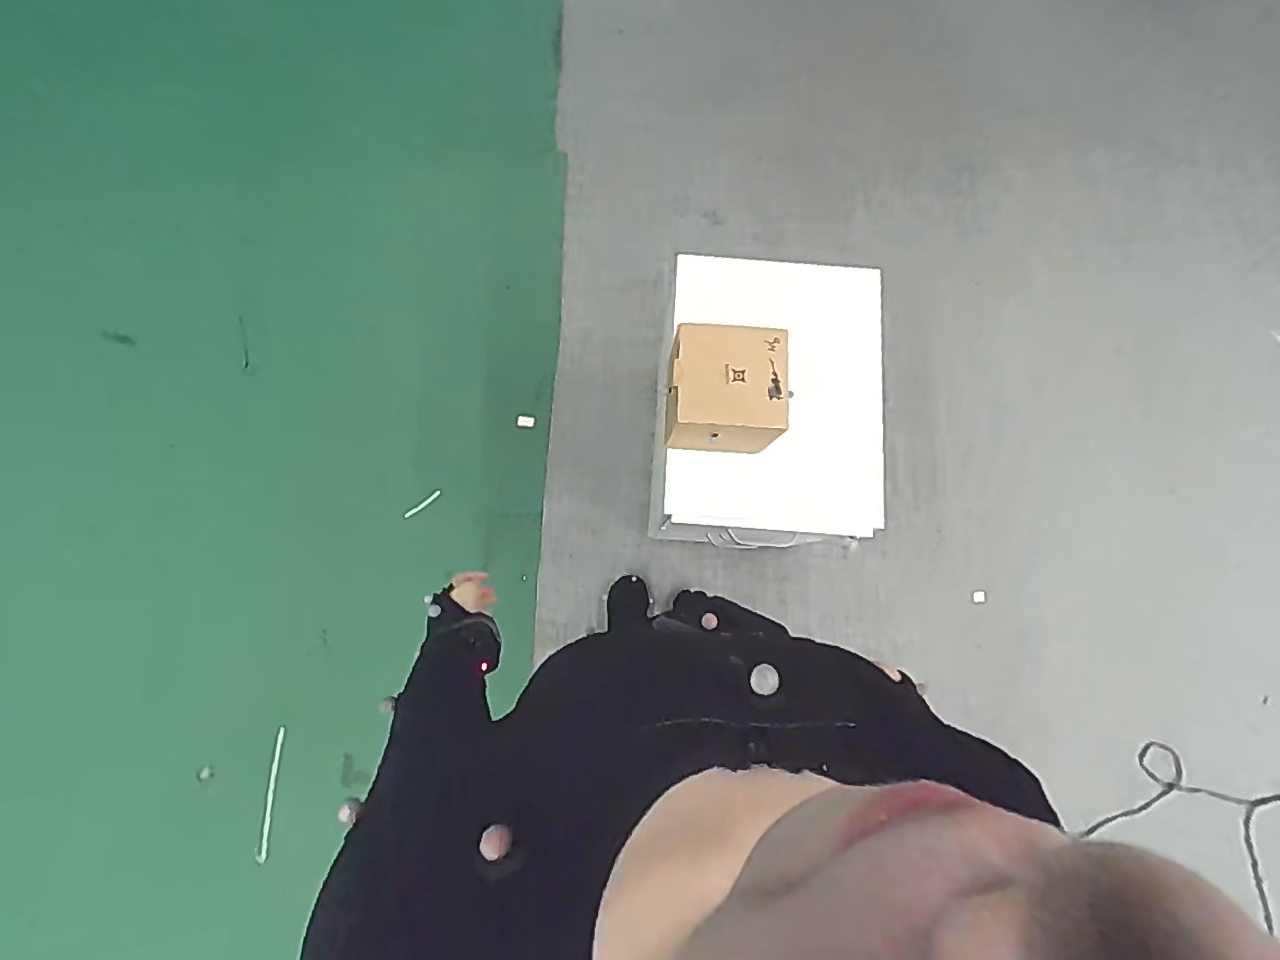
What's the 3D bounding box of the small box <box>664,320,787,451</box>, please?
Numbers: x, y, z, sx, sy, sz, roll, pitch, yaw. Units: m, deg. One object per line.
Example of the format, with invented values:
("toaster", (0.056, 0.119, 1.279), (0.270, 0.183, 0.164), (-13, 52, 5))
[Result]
("small box", (0.135, -0.149, 0.906), (0.179, 0.176, 0.168), (3, 79, -3))
